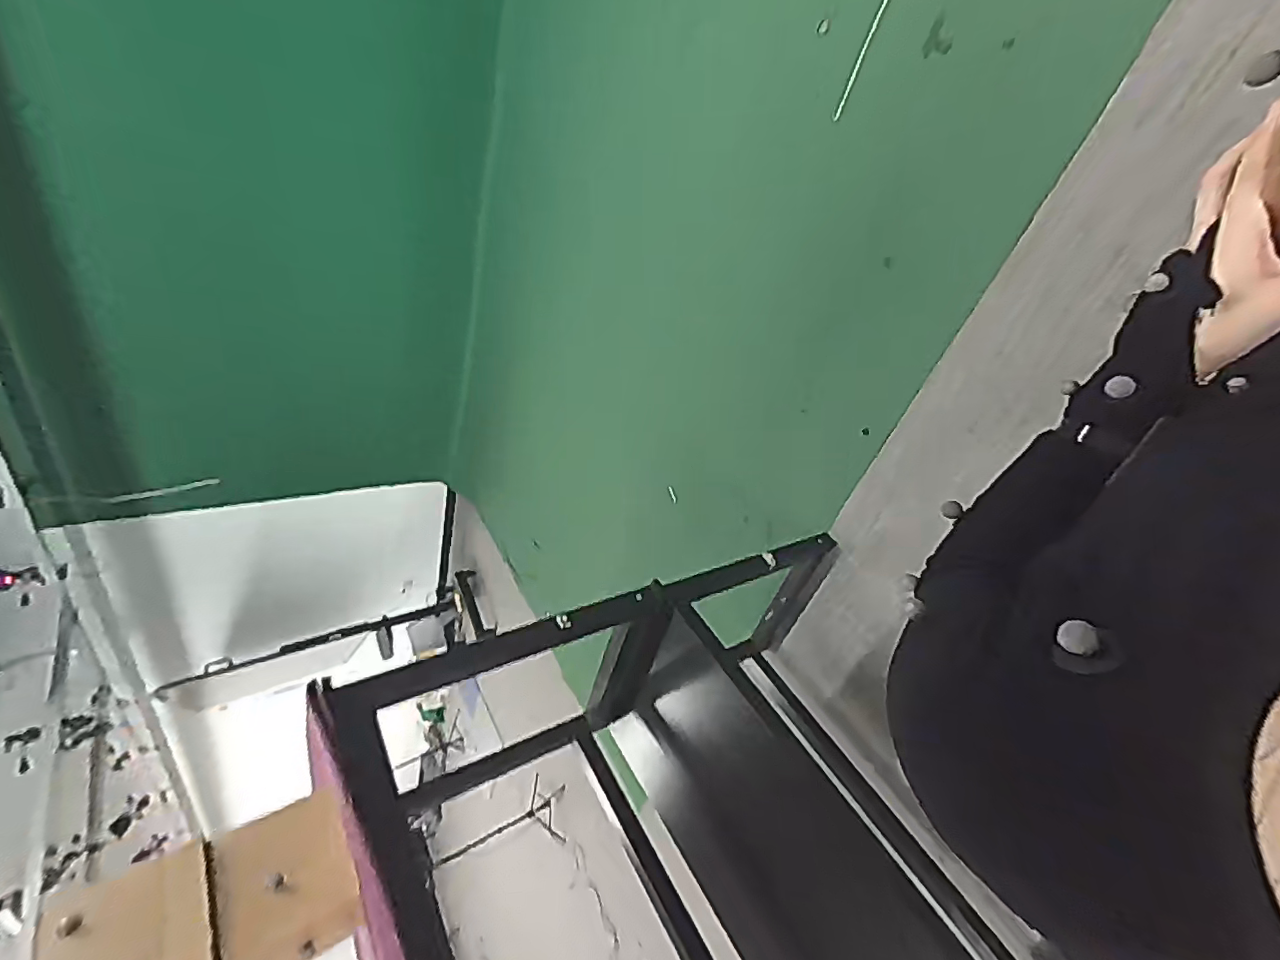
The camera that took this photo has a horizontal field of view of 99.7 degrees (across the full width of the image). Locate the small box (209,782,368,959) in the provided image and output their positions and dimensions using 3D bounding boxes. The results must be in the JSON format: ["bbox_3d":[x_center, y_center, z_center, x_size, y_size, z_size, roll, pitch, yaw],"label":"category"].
[{"bbox_3d":[-0.521,0.607,0.818,0.179,0.176,0.168,47,135,34],"label":"small box"}]

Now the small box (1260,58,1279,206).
[{"bbox_3d":[0.421,-0.243,0.243,0.168,0.176,0.179,13,93,45],"label":"small box"}]

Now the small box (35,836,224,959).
[{"bbox_3d":[-0.647,0.626,0.716,0.179,0.176,0.168,48,135,35],"label":"small box"}]
